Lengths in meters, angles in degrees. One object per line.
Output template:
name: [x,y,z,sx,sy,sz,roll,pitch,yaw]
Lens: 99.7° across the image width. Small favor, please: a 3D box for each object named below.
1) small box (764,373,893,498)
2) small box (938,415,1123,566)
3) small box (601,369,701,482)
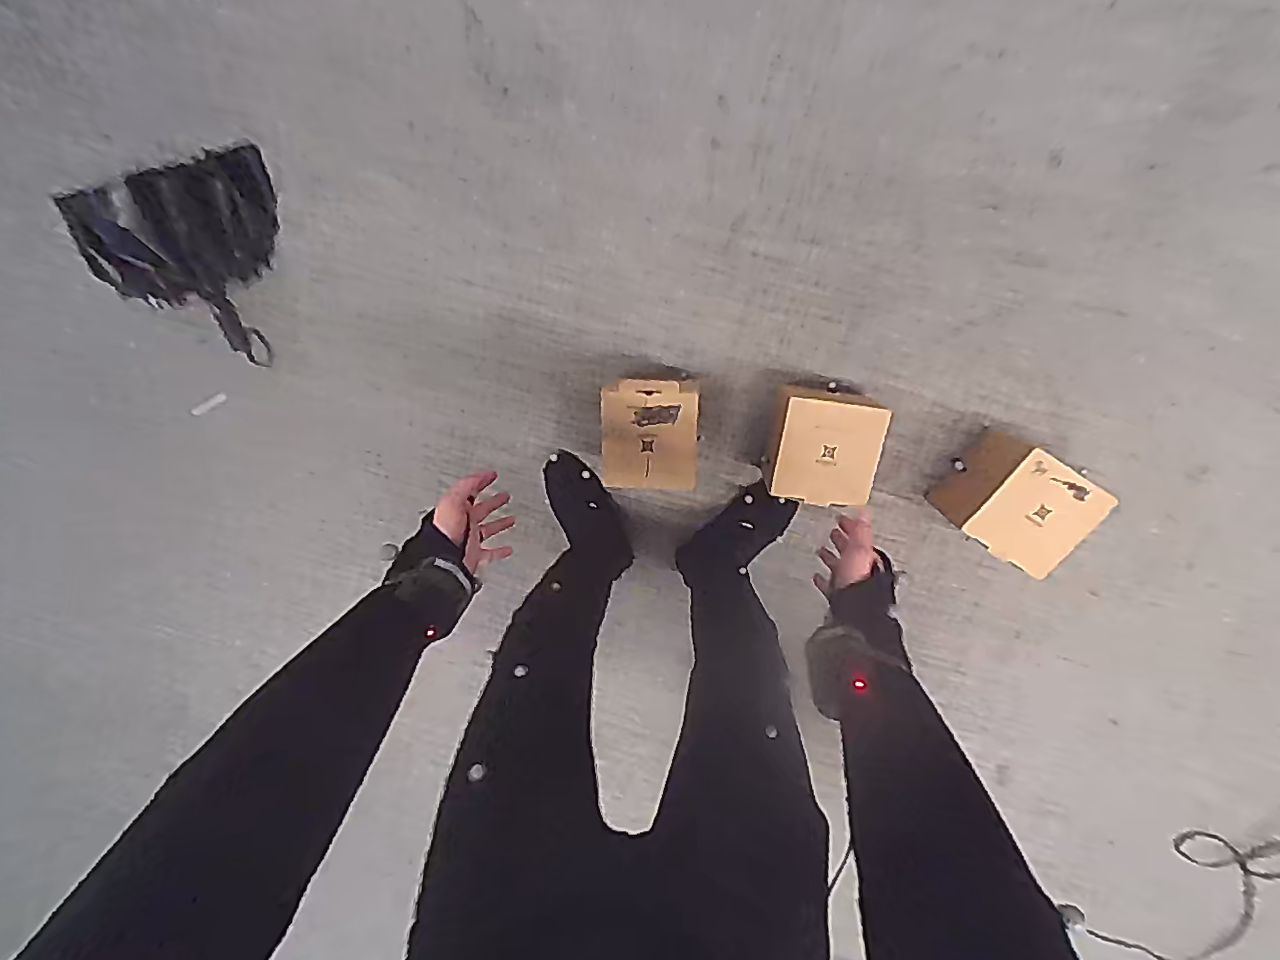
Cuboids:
small box: [0.320,-0.086,0.958,0.168,0.176,0.179,7,108,4]
small box: [0.656,0.010,0.943,0.168,0.176,0.179,32,110,-3]
small box: [0.024,-0.107,0.986,0.168,0.176,0.179,2,109,7]
